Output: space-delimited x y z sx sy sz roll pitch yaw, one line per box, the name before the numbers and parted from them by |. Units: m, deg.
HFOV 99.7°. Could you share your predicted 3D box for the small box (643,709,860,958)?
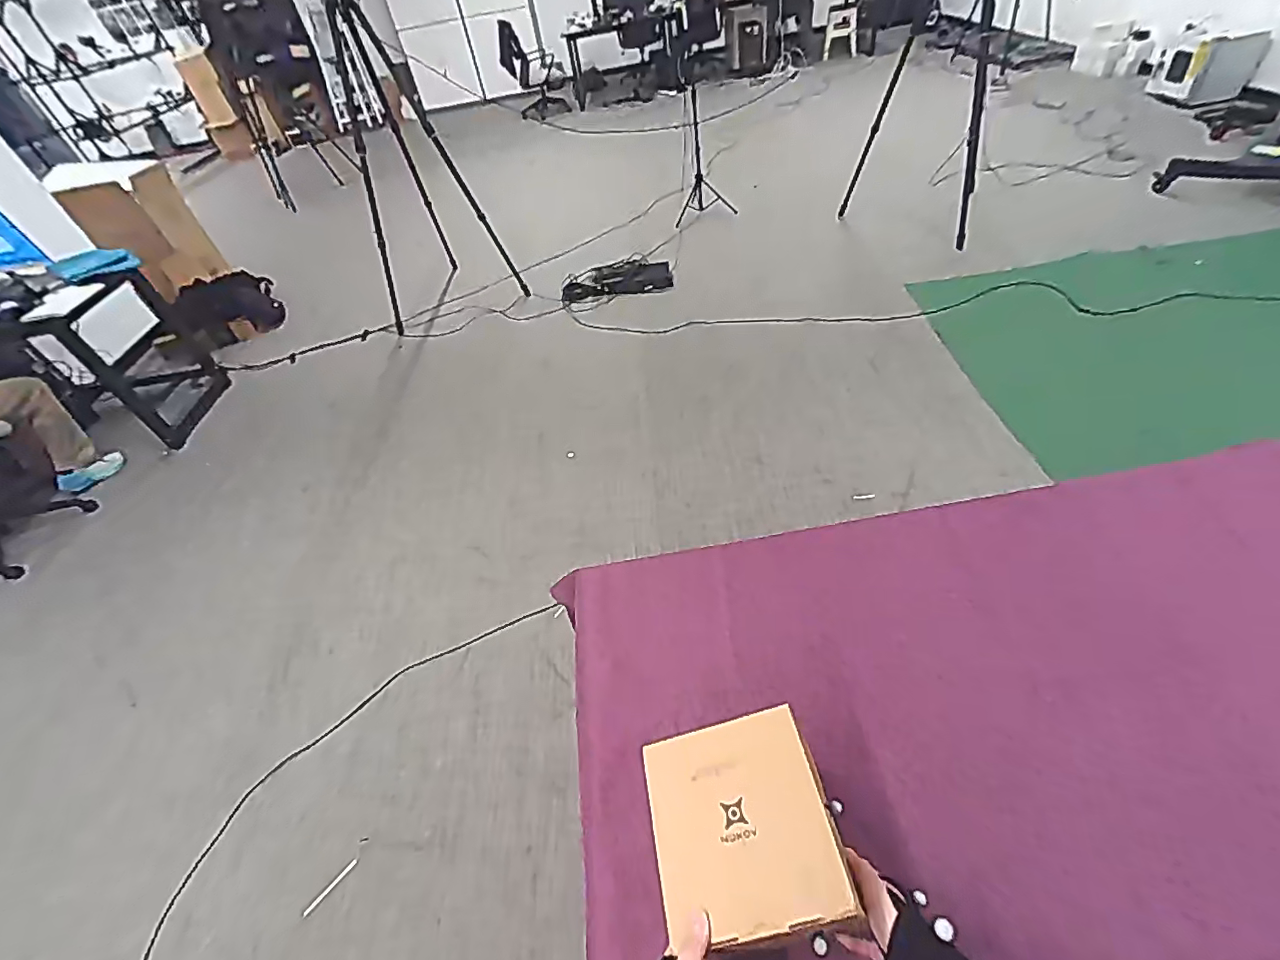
small box | 0.117 0.373 0.568 0.168 0.176 0.179 -20 44 8
